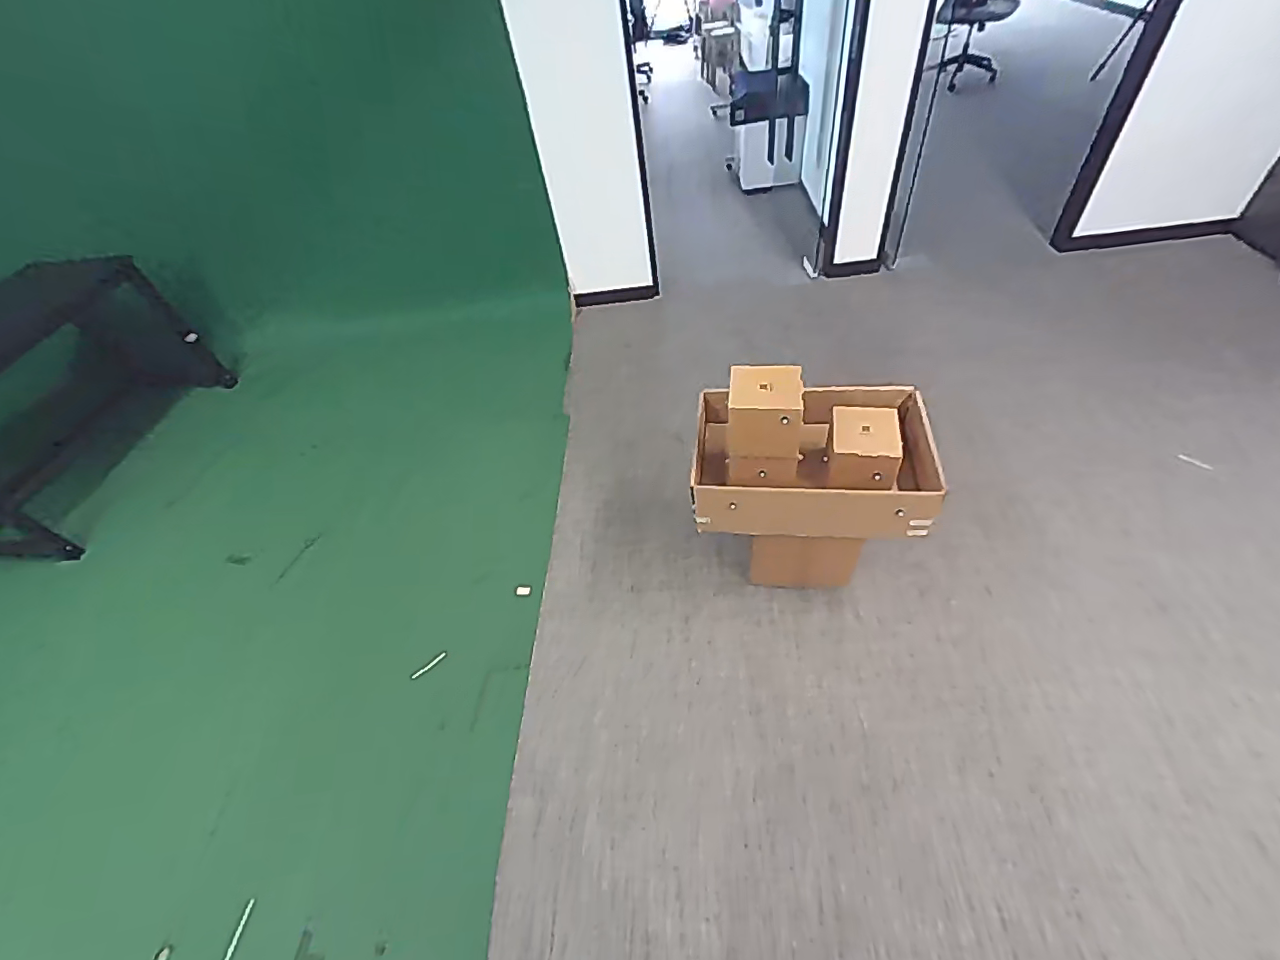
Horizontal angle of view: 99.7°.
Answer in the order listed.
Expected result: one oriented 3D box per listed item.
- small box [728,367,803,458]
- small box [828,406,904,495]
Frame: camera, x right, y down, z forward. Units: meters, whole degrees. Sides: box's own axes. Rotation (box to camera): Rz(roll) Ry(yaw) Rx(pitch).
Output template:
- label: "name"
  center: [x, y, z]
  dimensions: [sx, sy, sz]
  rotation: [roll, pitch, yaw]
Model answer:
- label: "small box"
  center: [0.319, -0.170, 1.377]
  dimensions: [0.179, 0.176, 0.168]
  rotation: [2, 50, 12]
- label: "small box"
  center: [0.603, -0.077, 1.456]
  dimensions: [0.168, 0.176, 0.179]
  rotation: [5, 51, 14]
